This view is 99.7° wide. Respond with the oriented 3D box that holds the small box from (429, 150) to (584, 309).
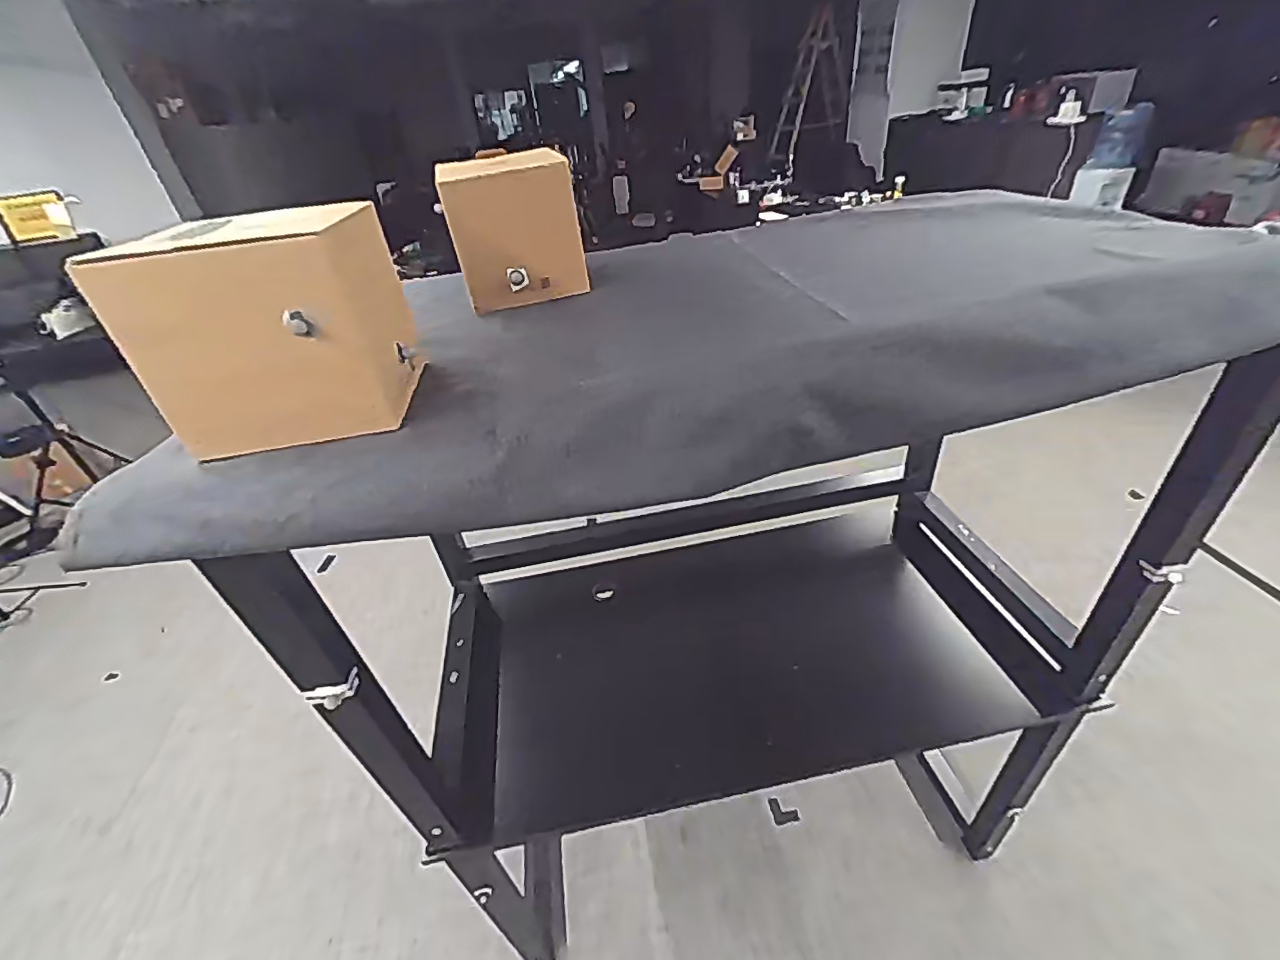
[{"bbox_3d":[-0.187,-0.357,0.767,0.168,0.176,0.179,-16,36,-9],"label":"small box"}]
